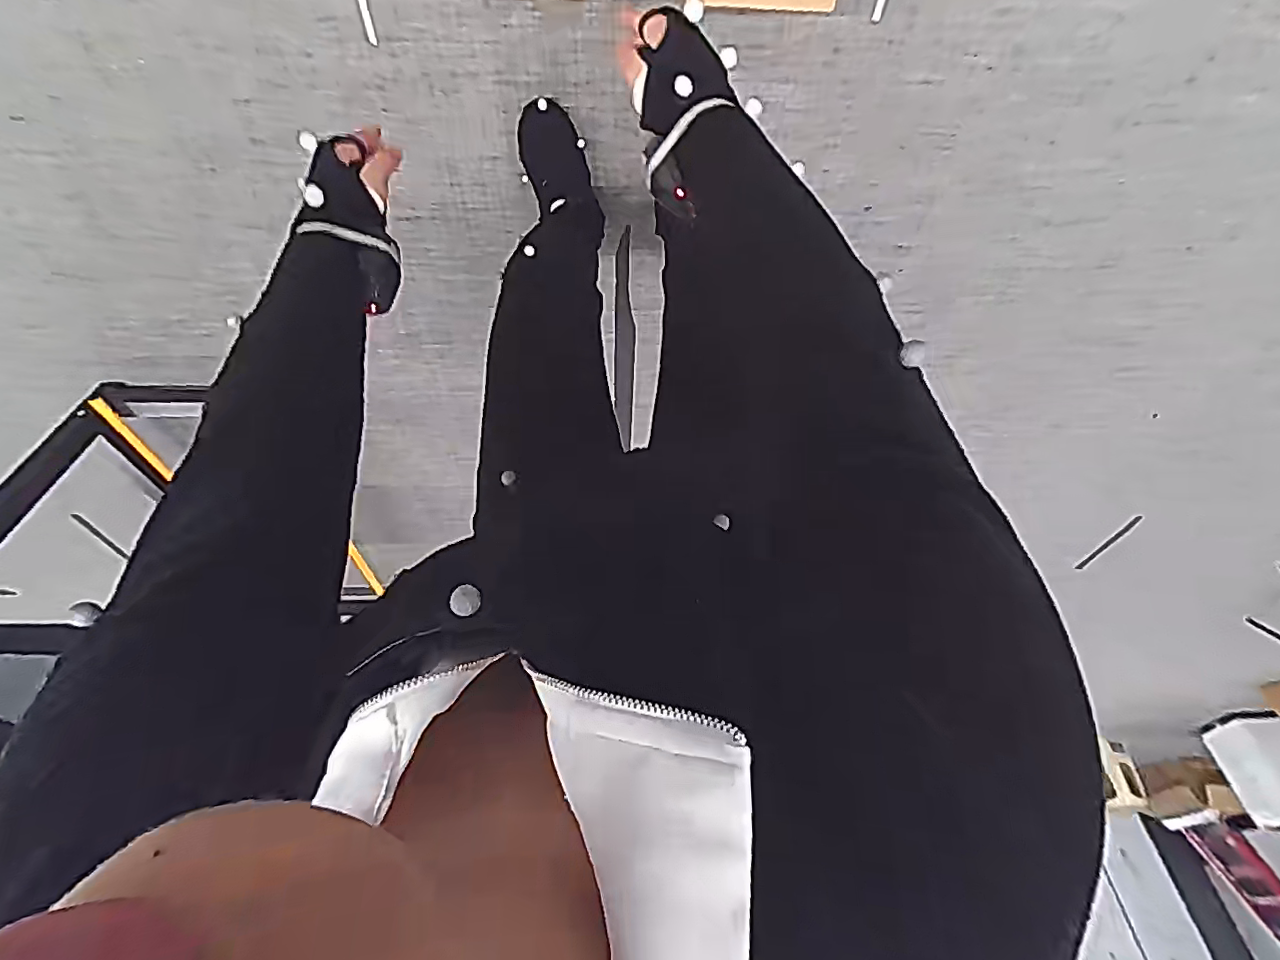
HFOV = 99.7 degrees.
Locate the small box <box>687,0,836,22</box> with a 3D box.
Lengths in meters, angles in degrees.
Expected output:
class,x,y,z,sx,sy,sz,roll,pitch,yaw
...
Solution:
class,x,y,z,sx,sy,sz,roll,pitch,yaw
small box,0.135,-0.631,0.585,0.168,0.176,0.179,1,141,-2
